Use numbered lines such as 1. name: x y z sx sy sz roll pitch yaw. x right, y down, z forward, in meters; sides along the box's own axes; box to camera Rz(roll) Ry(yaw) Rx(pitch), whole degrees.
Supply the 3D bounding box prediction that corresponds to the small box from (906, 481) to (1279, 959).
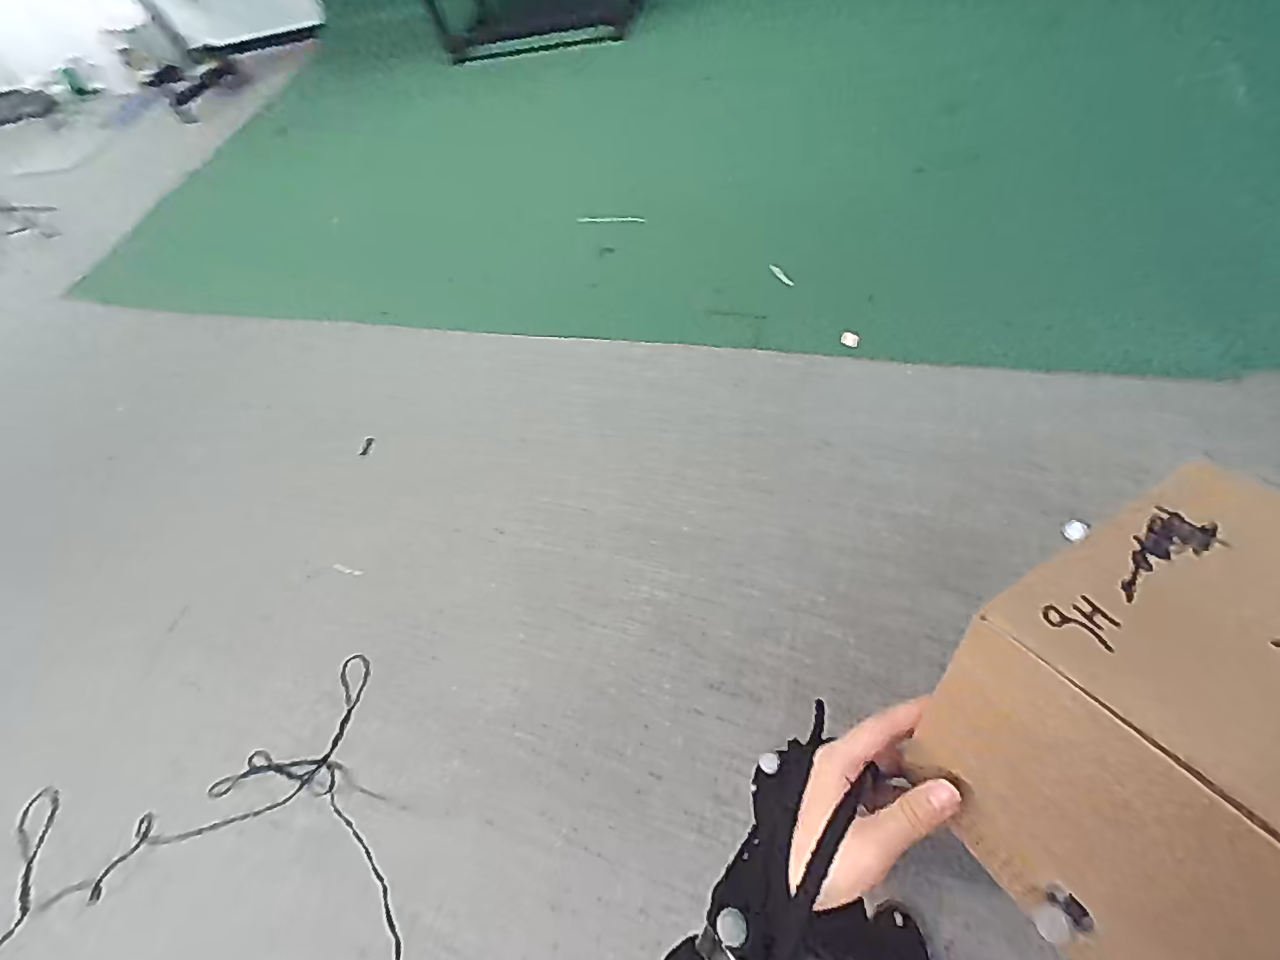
1. small box: 0.260 0.137 0.244 0.168 0.176 0.179 -23 43 -18
